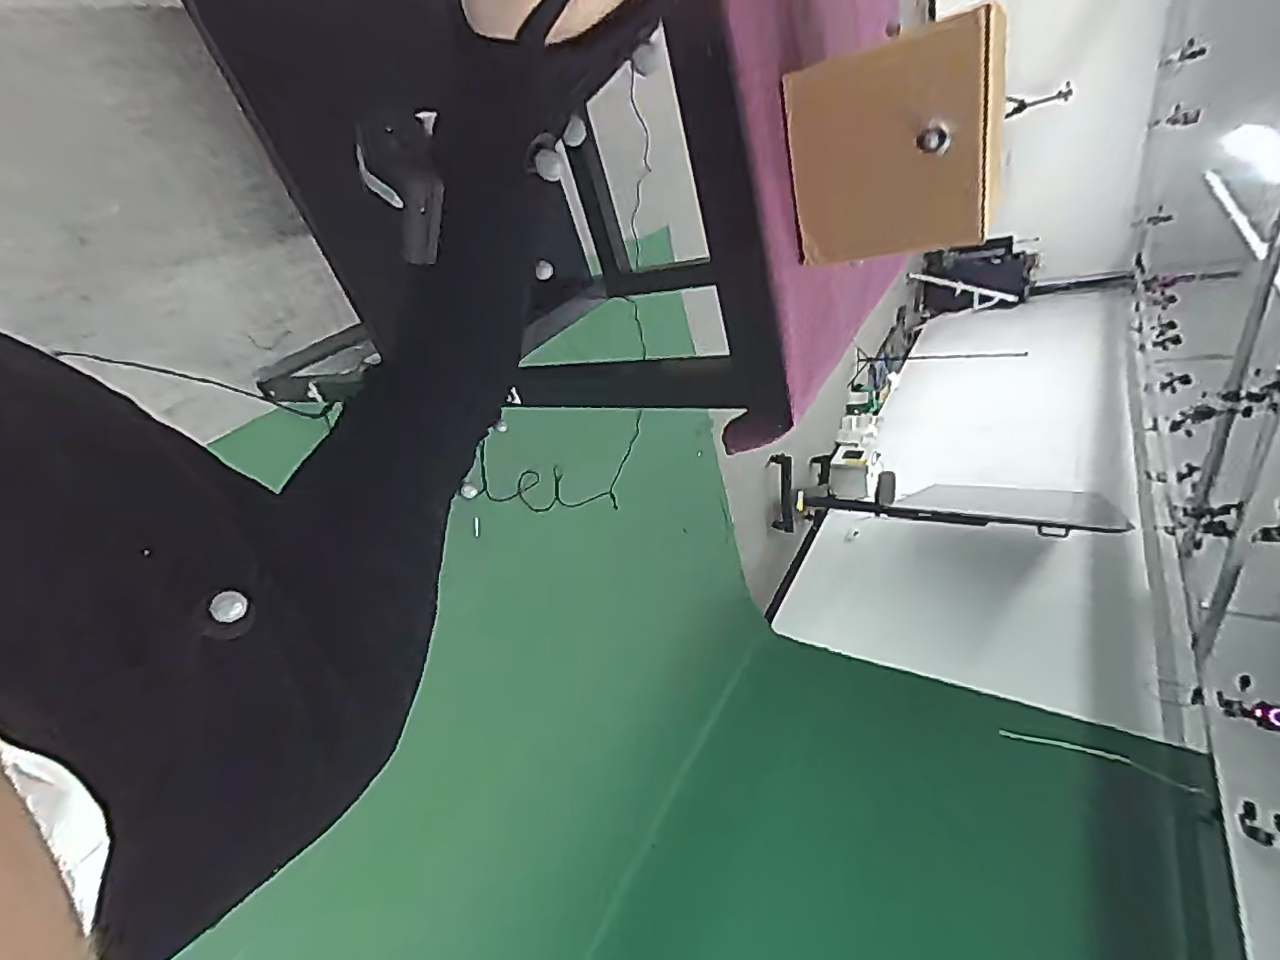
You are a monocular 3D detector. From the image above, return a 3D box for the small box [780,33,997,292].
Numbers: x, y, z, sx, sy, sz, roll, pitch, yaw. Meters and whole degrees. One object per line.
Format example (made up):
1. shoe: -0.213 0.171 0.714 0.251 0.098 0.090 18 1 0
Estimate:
1. small box: 0.247 -0.302 0.539 0.168 0.176 0.179 -44 130 -44
